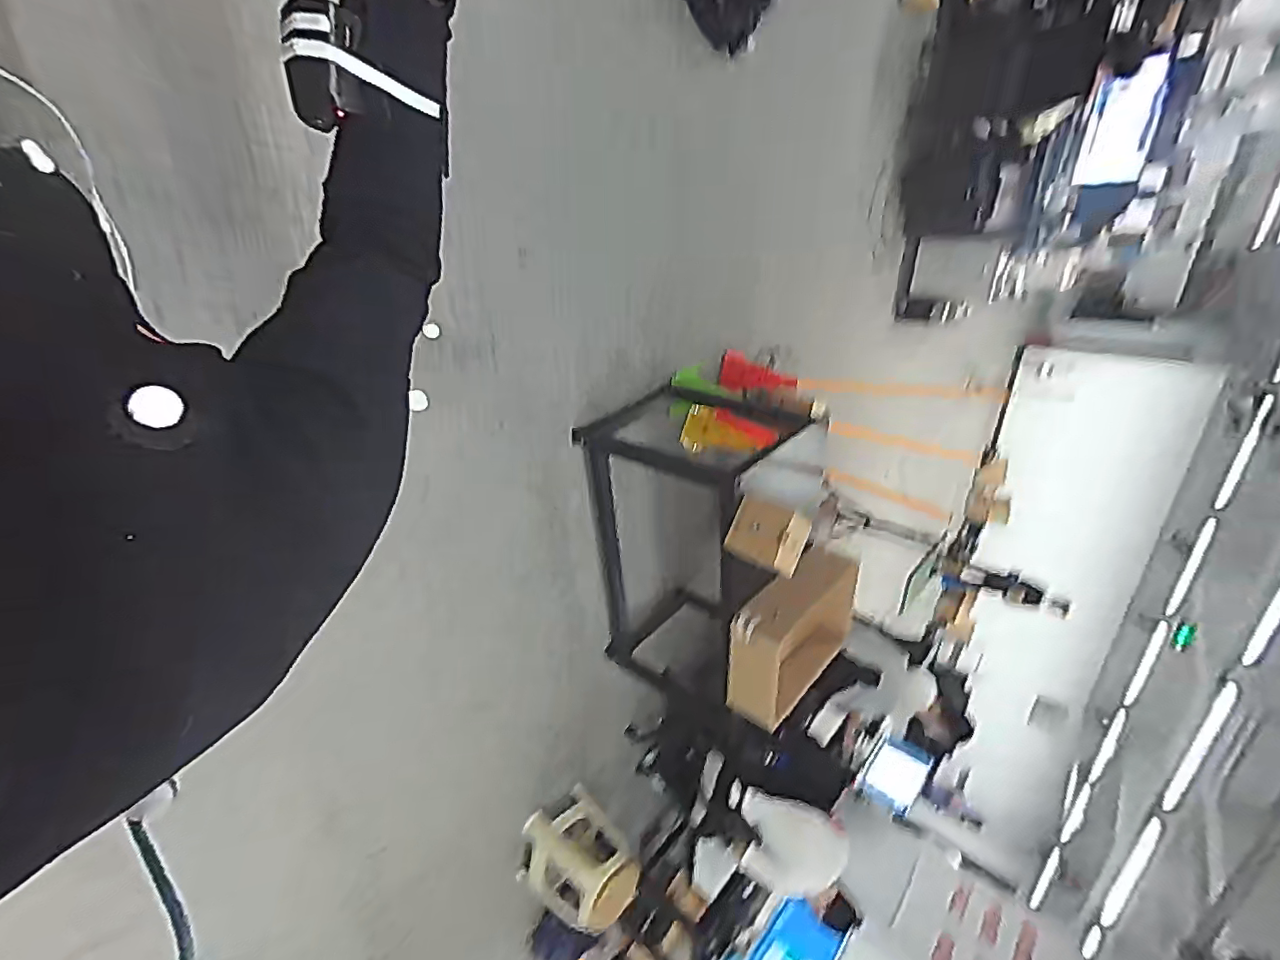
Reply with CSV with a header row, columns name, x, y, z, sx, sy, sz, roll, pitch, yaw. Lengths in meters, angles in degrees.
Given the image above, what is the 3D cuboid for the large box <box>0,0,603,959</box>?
name,x,y,z,sx,sy,sz,roll,pitch,yaw
large box,-0.235,0.033,0.302,0.320,0.320,0.408,18,57,-24
